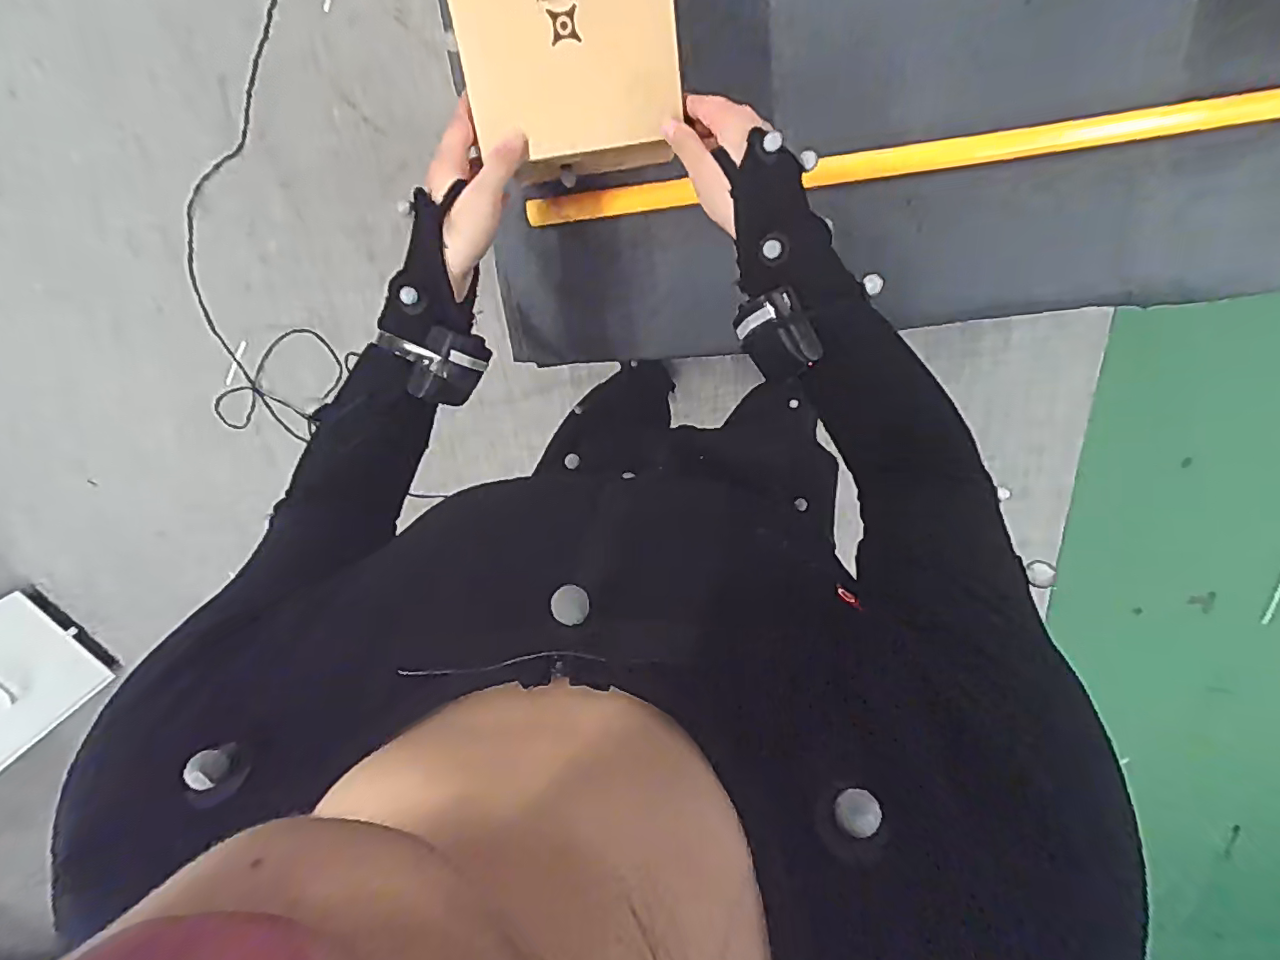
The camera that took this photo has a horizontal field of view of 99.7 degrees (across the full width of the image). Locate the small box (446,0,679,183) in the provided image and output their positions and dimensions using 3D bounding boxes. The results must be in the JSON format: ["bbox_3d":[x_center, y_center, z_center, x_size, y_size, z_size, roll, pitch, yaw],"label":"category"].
[{"bbox_3d":[-0.057,-0.369,0.472,0.168,0.176,0.179,-7,114,3],"label":"small box"}]
